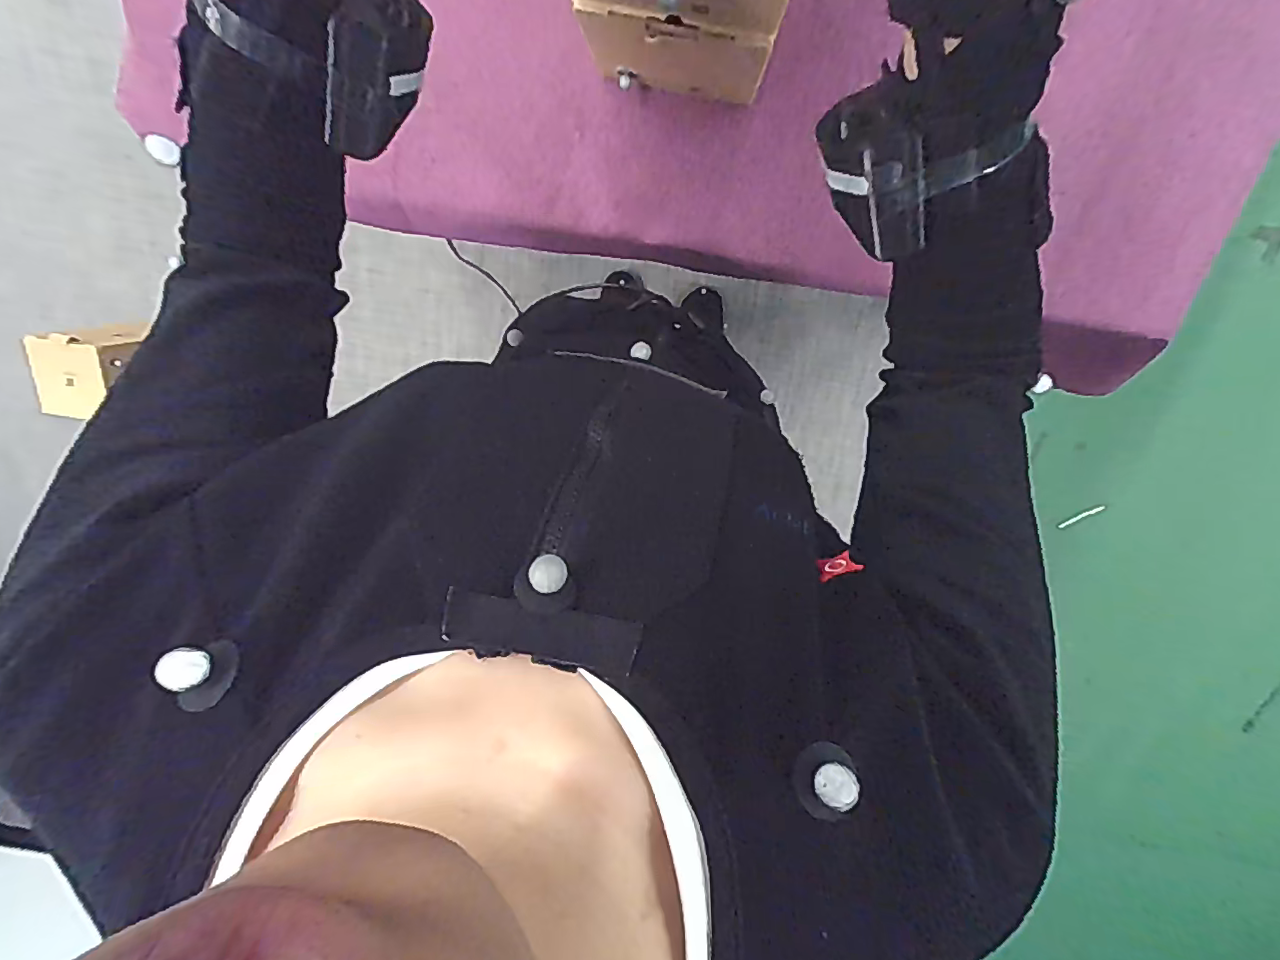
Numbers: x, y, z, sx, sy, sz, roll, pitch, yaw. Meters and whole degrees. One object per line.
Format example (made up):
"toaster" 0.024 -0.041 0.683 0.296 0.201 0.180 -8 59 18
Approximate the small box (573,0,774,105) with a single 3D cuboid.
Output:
"small box" 0.048 -0.466 0.479 0.168 0.176 0.179 12 110 0

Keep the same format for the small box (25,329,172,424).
"small box" -1.249 -0.246 1.265 0.168 0.176 0.179 9 111 1

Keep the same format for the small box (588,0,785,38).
"small box" 0.035 -0.416 0.323 0.168 0.176 0.179 11 111 0
